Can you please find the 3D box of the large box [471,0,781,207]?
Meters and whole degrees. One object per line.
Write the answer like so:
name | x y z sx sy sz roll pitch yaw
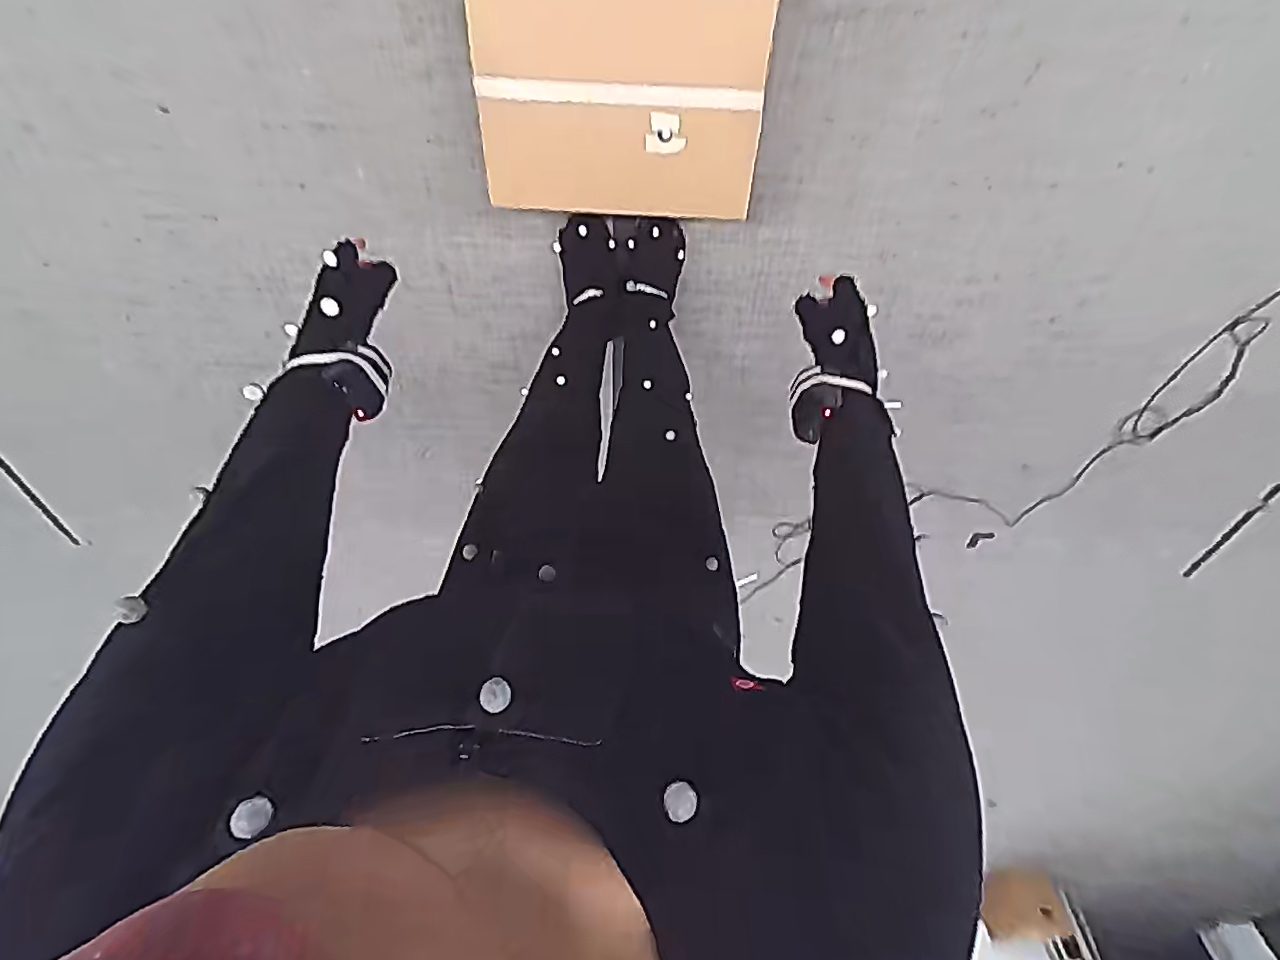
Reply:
large box | -0.021 -0.643 0.862 0.408 0.320 0.320 2 130 -1
